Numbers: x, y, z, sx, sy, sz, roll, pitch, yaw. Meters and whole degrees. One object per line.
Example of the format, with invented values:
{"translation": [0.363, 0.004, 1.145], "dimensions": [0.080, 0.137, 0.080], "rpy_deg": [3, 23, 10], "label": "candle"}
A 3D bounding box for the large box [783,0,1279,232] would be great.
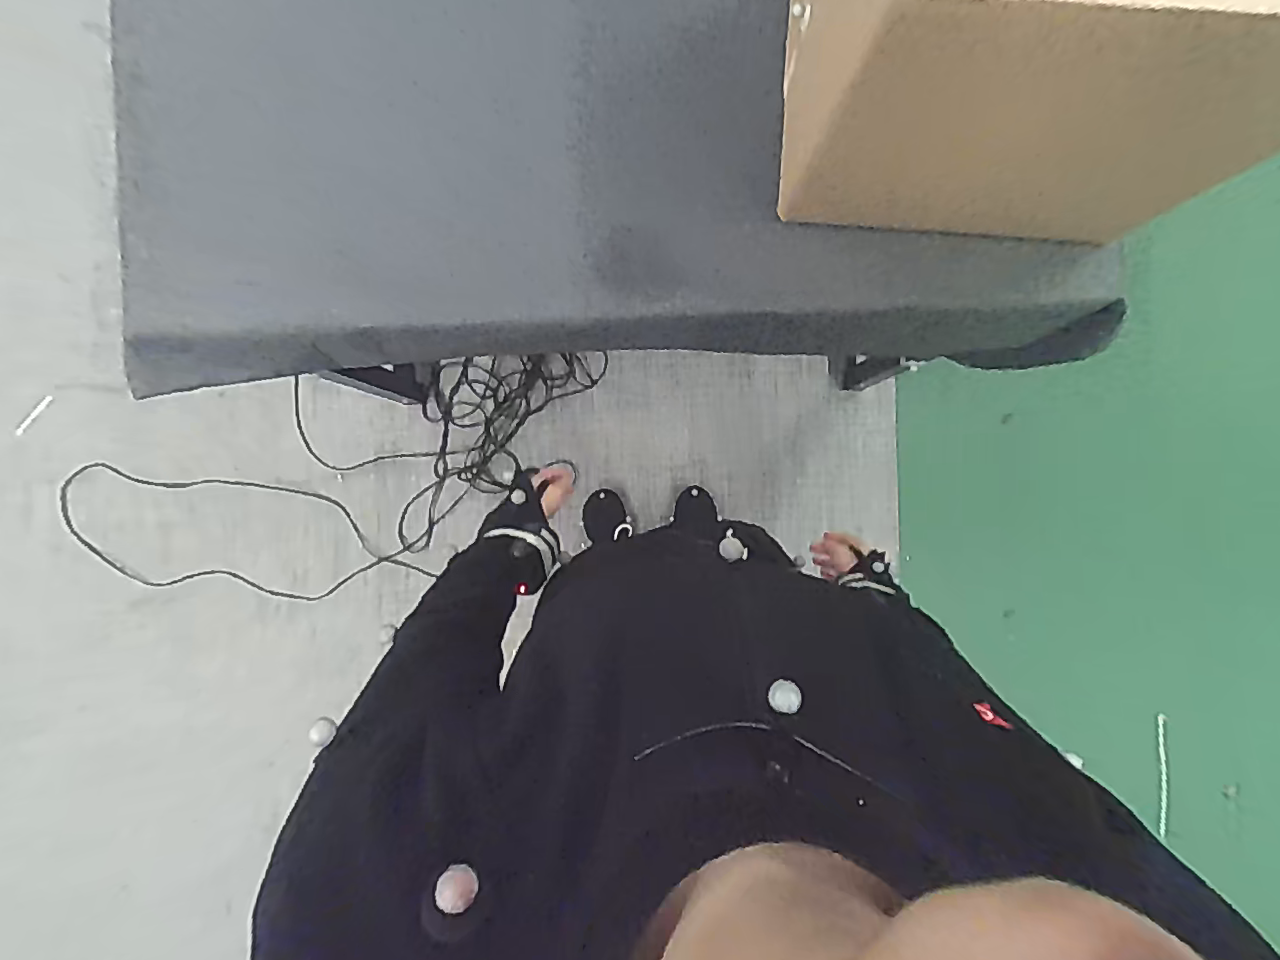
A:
{"translation": [0.372, -0.457, 0.502], "dimensions": [0.408, 0.320, 0.320], "rpy_deg": [3, 90, -1], "label": "large box"}
